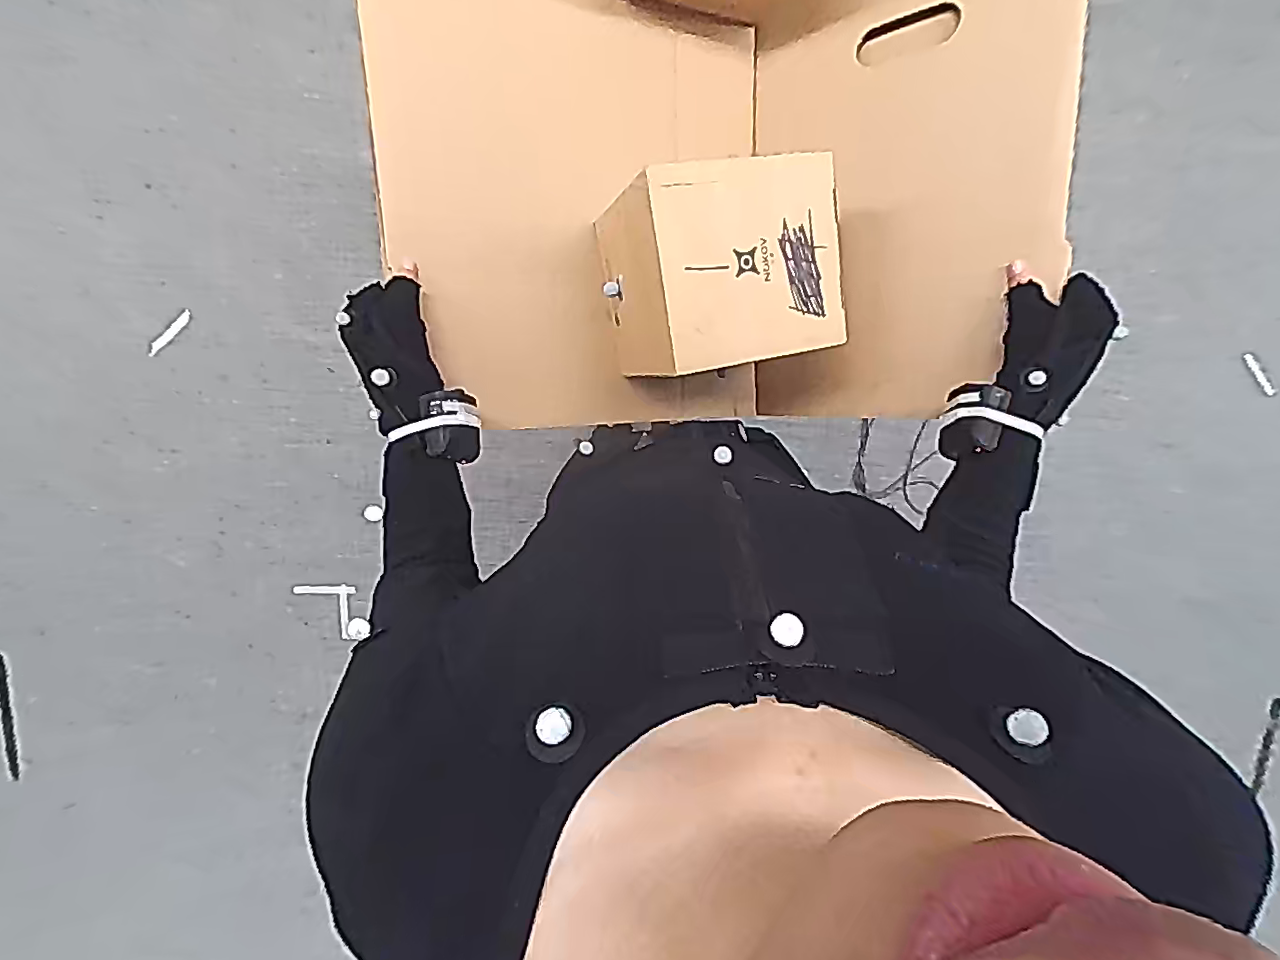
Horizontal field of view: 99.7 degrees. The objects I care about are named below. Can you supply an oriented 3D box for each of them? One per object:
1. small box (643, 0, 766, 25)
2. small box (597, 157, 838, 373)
[{"bbox_3d":[0.068,-0.557,0.480,0.179,0.176,0.168,-2,101,-19],"label":"small box"},{"bbox_3d":[0.070,-0.203,0.545,0.179,0.176,0.168,-13,104,-16],"label":"small box"}]
